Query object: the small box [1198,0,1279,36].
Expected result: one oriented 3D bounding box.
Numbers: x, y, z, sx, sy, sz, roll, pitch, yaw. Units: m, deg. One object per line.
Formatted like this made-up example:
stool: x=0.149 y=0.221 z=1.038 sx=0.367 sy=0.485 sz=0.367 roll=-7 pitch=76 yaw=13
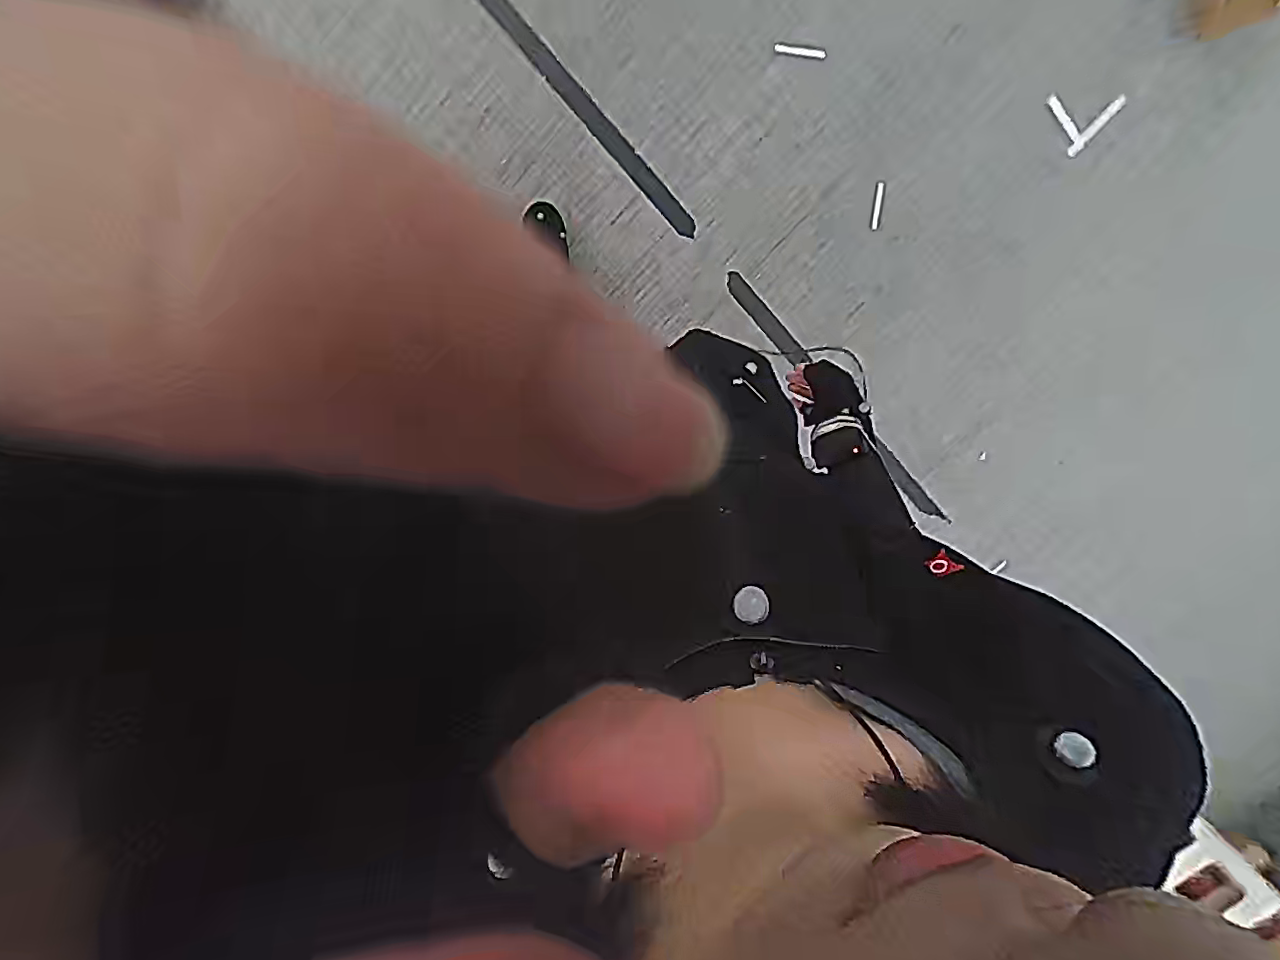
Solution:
small box: x=1.413 y=-1.158 z=1.215 sx=0.179 sy=0.176 sz=0.168 roll=-32 pitch=109 yaw=6
